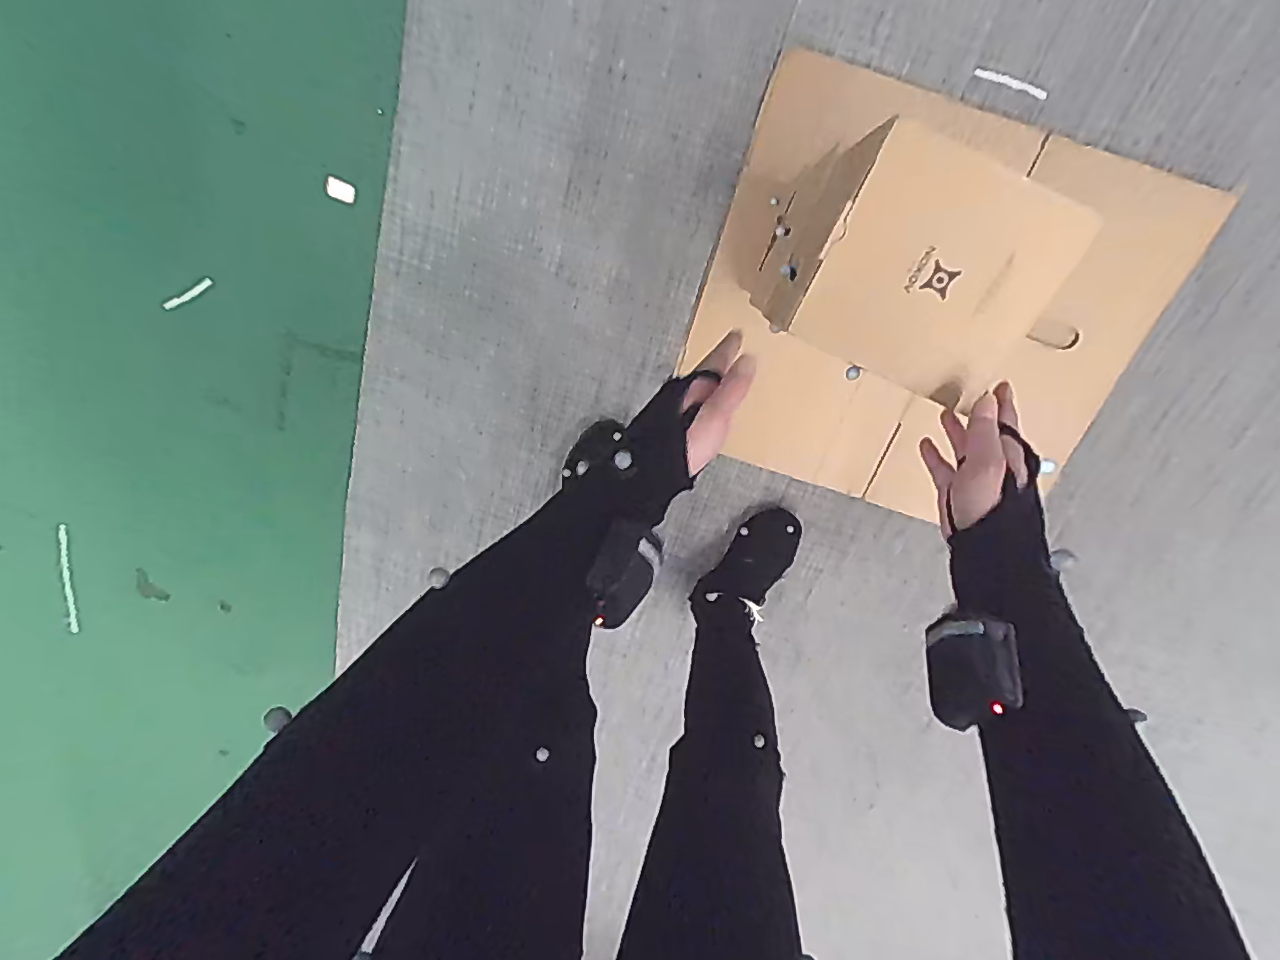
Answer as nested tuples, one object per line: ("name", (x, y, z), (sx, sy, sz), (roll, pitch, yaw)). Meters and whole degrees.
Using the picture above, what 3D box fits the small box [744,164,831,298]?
("small box", (0.265, -0.327, 0.789), (0.179, 0.176, 0.168), (22, 113, -3))

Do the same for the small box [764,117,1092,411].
("small box", (0.230, -0.188, 0.494), (0.179, 0.176, 0.168), (24, 114, -4))
